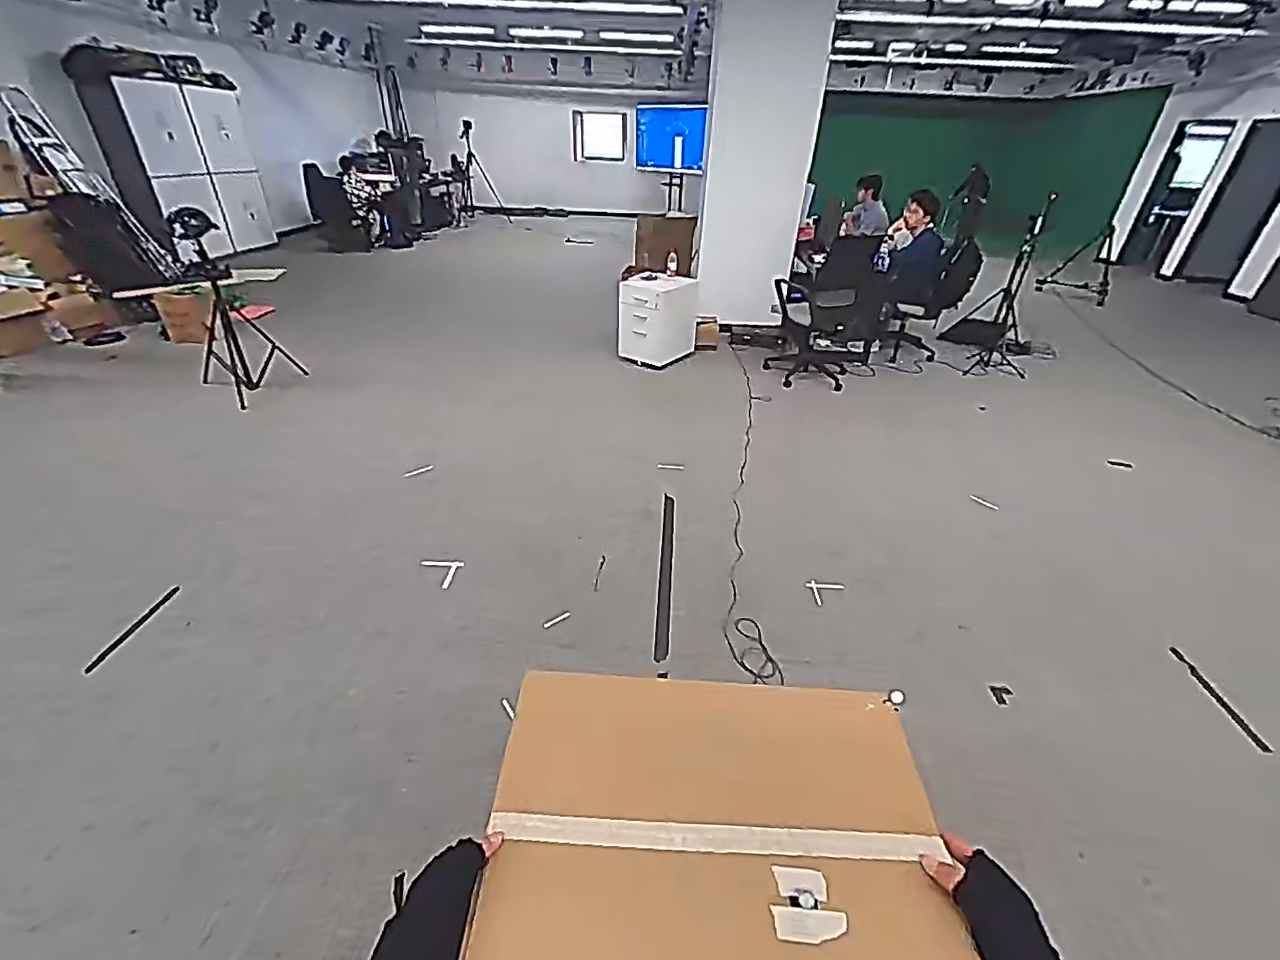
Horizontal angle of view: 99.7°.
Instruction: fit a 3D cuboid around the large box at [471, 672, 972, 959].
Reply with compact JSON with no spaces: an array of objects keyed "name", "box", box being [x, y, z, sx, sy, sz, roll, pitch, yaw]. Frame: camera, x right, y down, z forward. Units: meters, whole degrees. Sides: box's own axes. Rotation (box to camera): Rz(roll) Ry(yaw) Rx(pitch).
[{"name":"large box","box":[0.061,0.440,0.584,0.408,0.320,0.320,4,38,0]}]
